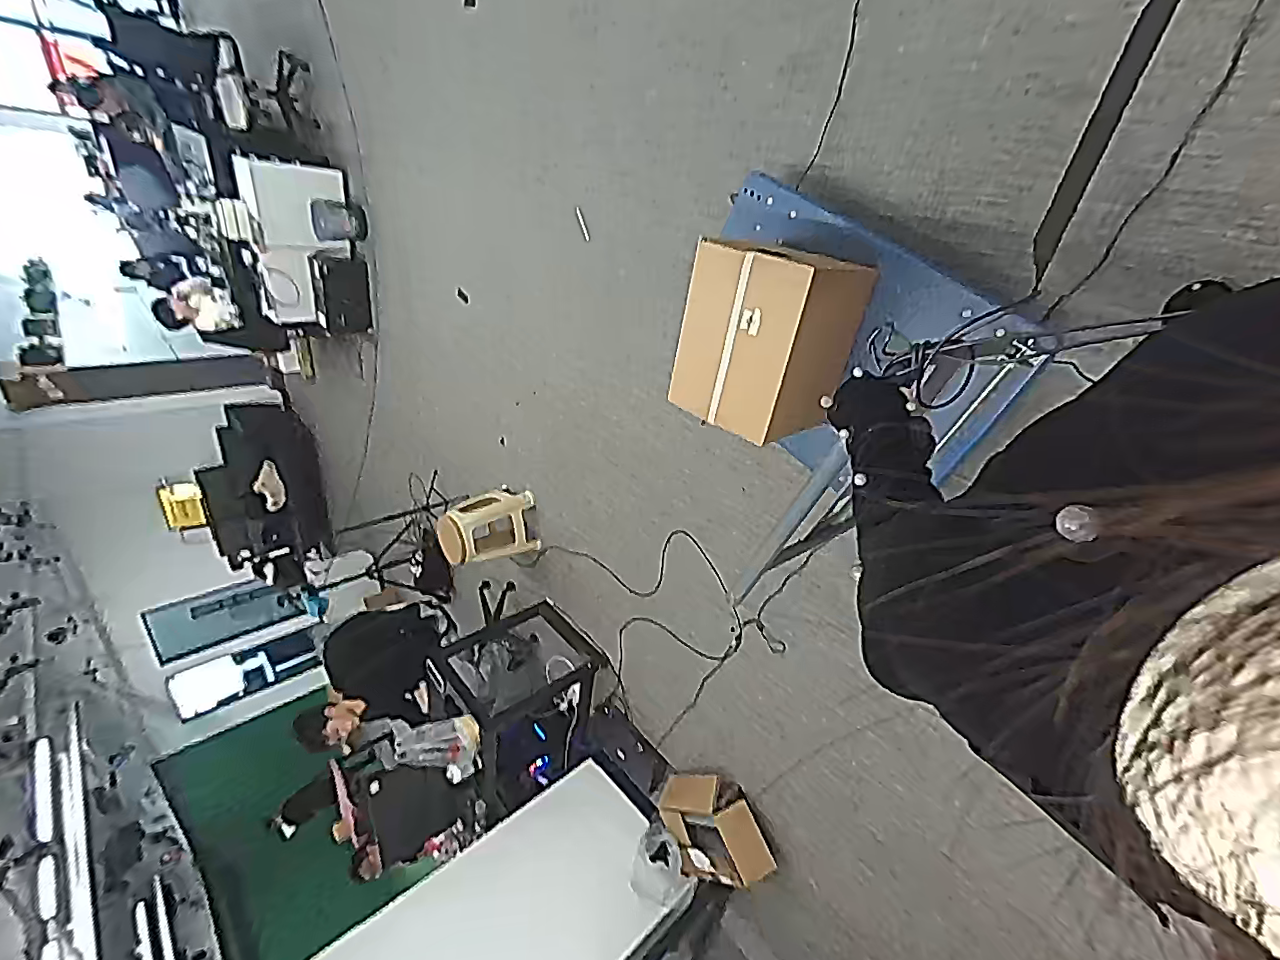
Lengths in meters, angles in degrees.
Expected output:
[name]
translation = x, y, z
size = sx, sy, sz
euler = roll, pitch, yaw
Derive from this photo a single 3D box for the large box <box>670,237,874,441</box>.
[large box]
translation = 0.317, -0.357, 1.351
size = 0.320, 0.320, 0.408
euler = 33, 125, 35
